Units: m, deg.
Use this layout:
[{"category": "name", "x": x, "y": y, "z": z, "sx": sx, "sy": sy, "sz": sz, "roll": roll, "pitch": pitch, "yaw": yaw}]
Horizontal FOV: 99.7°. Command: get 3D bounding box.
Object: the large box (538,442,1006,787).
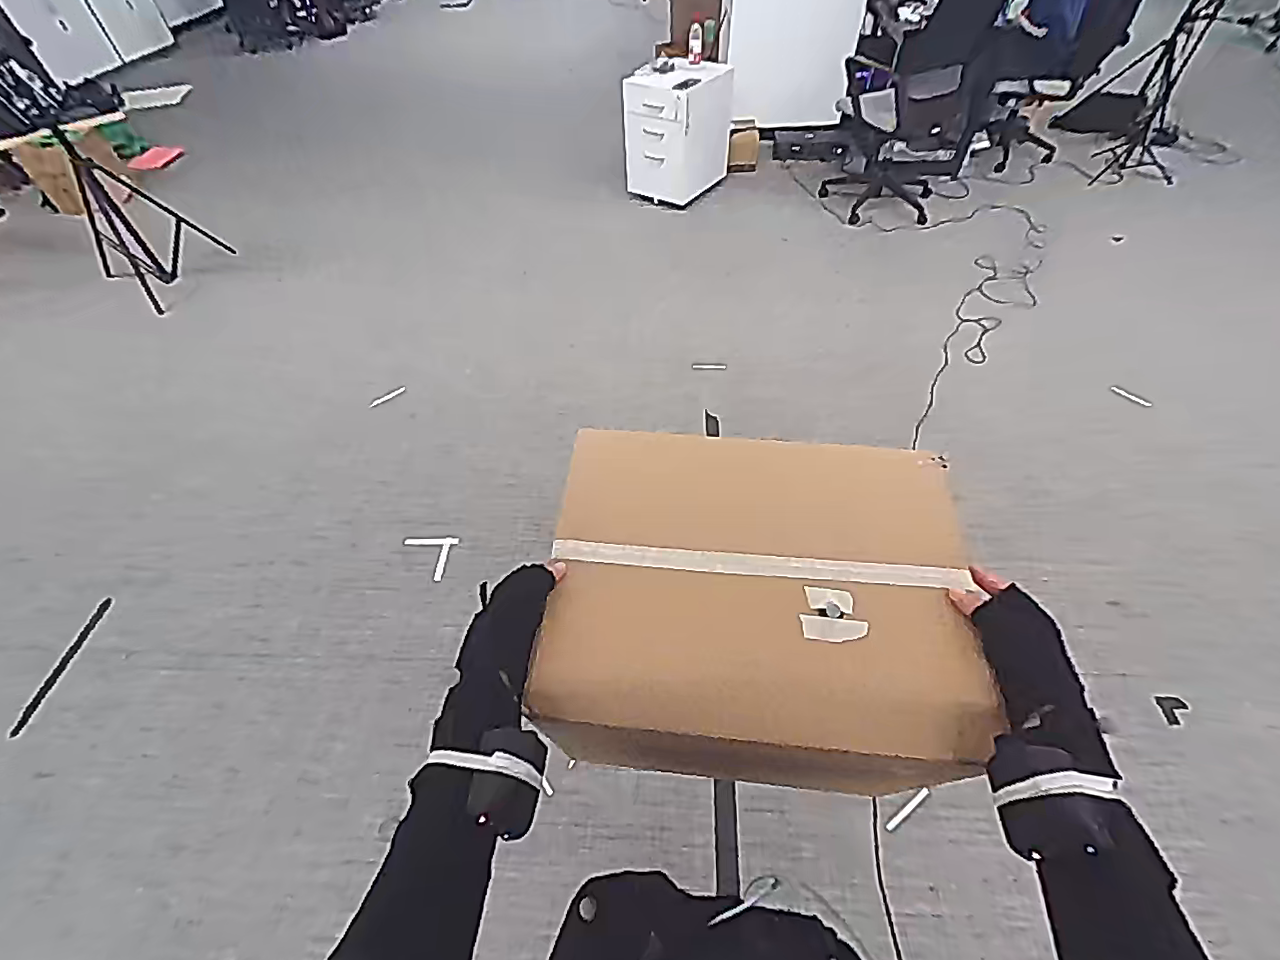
[{"category": "large box", "x": 0.119, "y": 0.174, "z": 0.661, "sx": 0.408, "sy": 0.320, "sz": 0.320, "roll": 4, "pitch": 58, "yaw": 4}]
